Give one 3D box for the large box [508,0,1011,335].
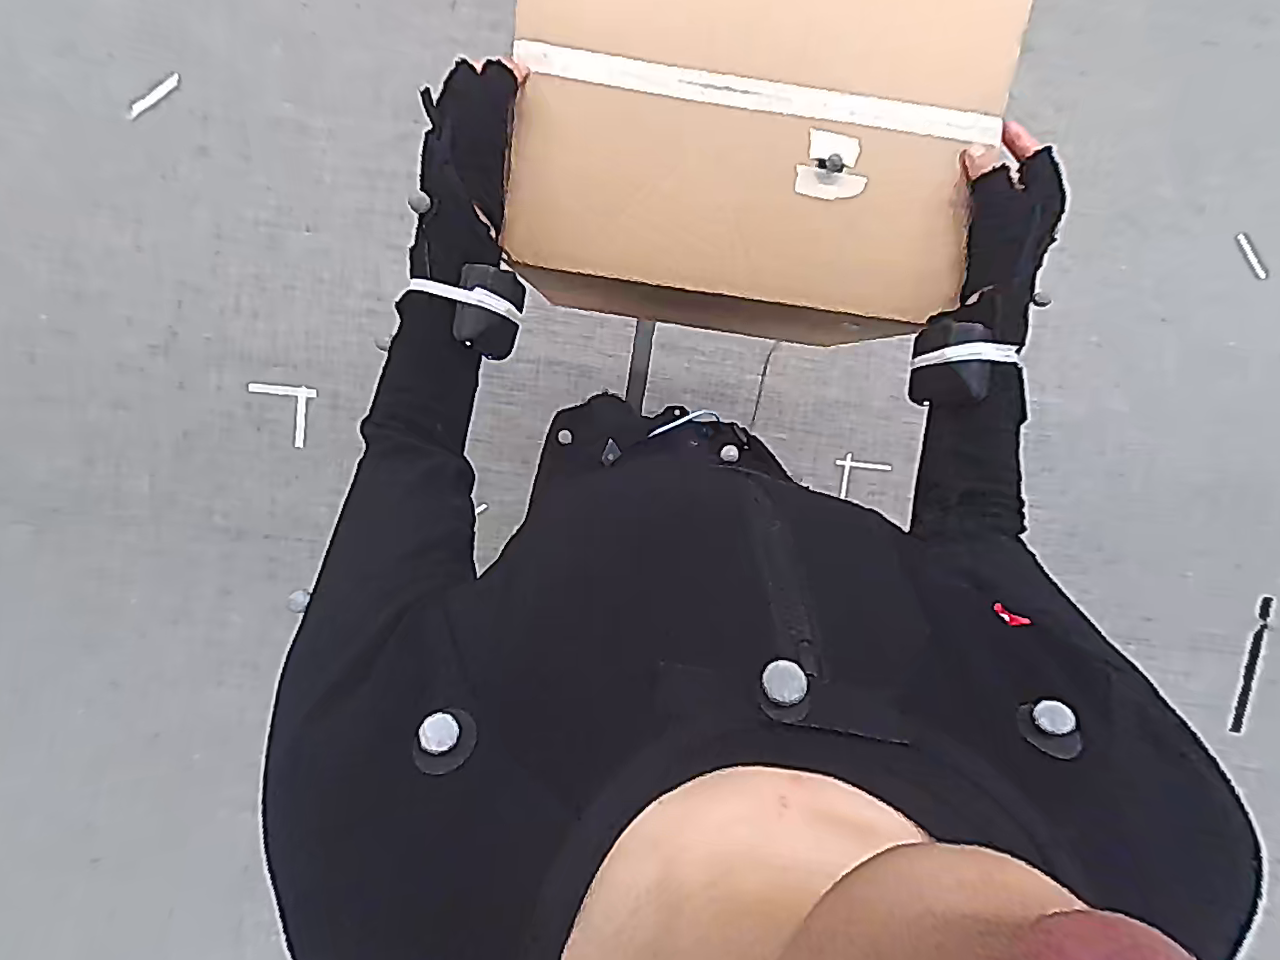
[{"bbox_3d":[0.092,-0.352,0.602,0.408,0.320,0.320,8,102,-3],"label":"large box"}]
